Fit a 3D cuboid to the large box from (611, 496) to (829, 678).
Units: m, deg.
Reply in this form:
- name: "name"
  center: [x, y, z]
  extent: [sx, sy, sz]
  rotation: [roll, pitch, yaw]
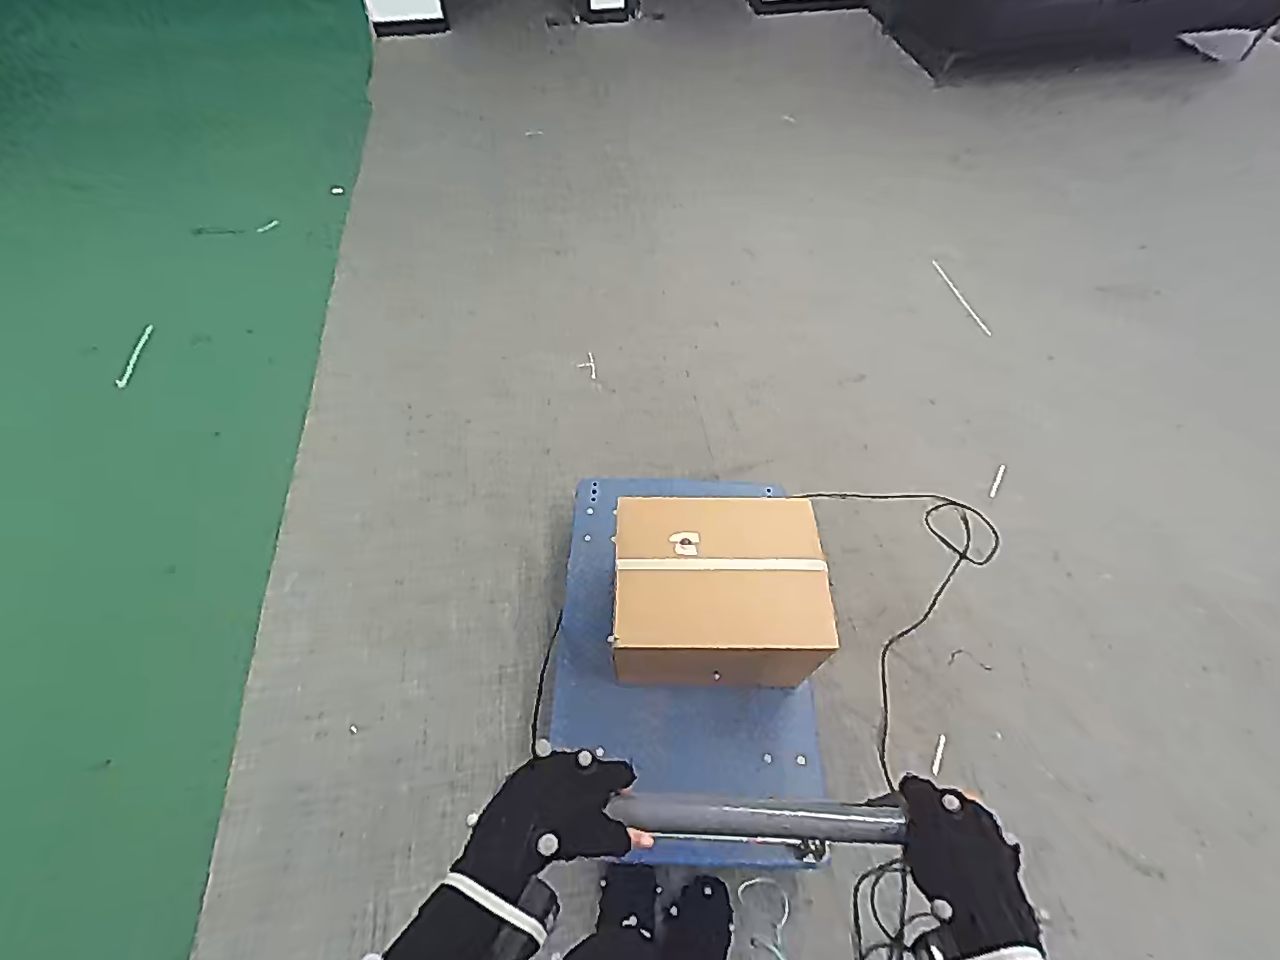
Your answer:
- name: "large box"
  center: [0.149, 0.244, 1.181]
  extent: [0.408, 0.320, 0.320]
  rotation: [0, 58, 1]
